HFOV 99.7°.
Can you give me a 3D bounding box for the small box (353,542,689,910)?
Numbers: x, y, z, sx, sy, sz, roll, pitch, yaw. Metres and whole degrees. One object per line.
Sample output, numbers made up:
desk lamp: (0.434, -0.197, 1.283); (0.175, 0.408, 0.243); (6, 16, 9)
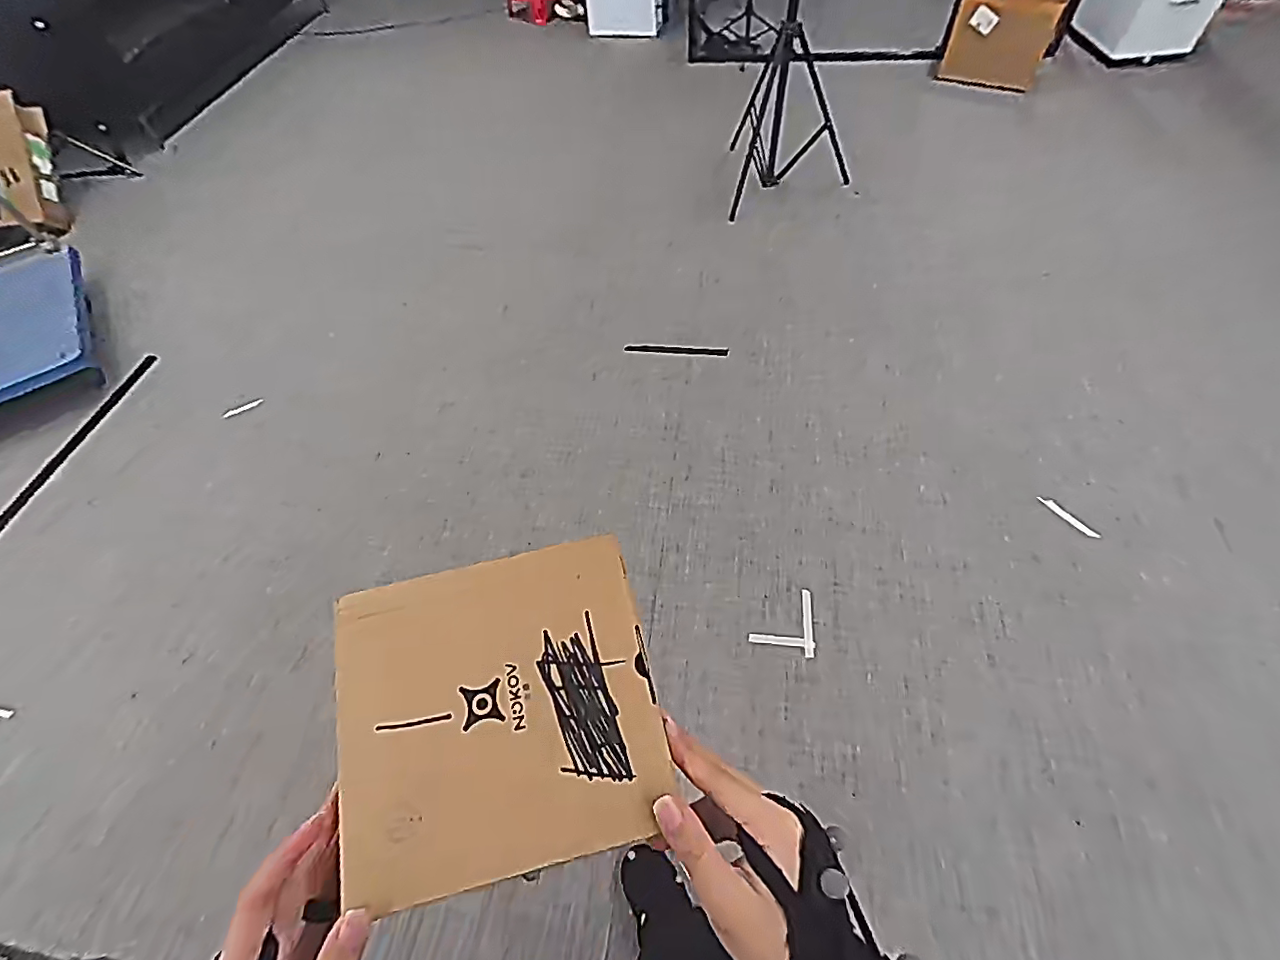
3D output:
small box: (-0.077, 0.159, 0.385); (0.179, 0.176, 0.168); (-12, 67, -6)
